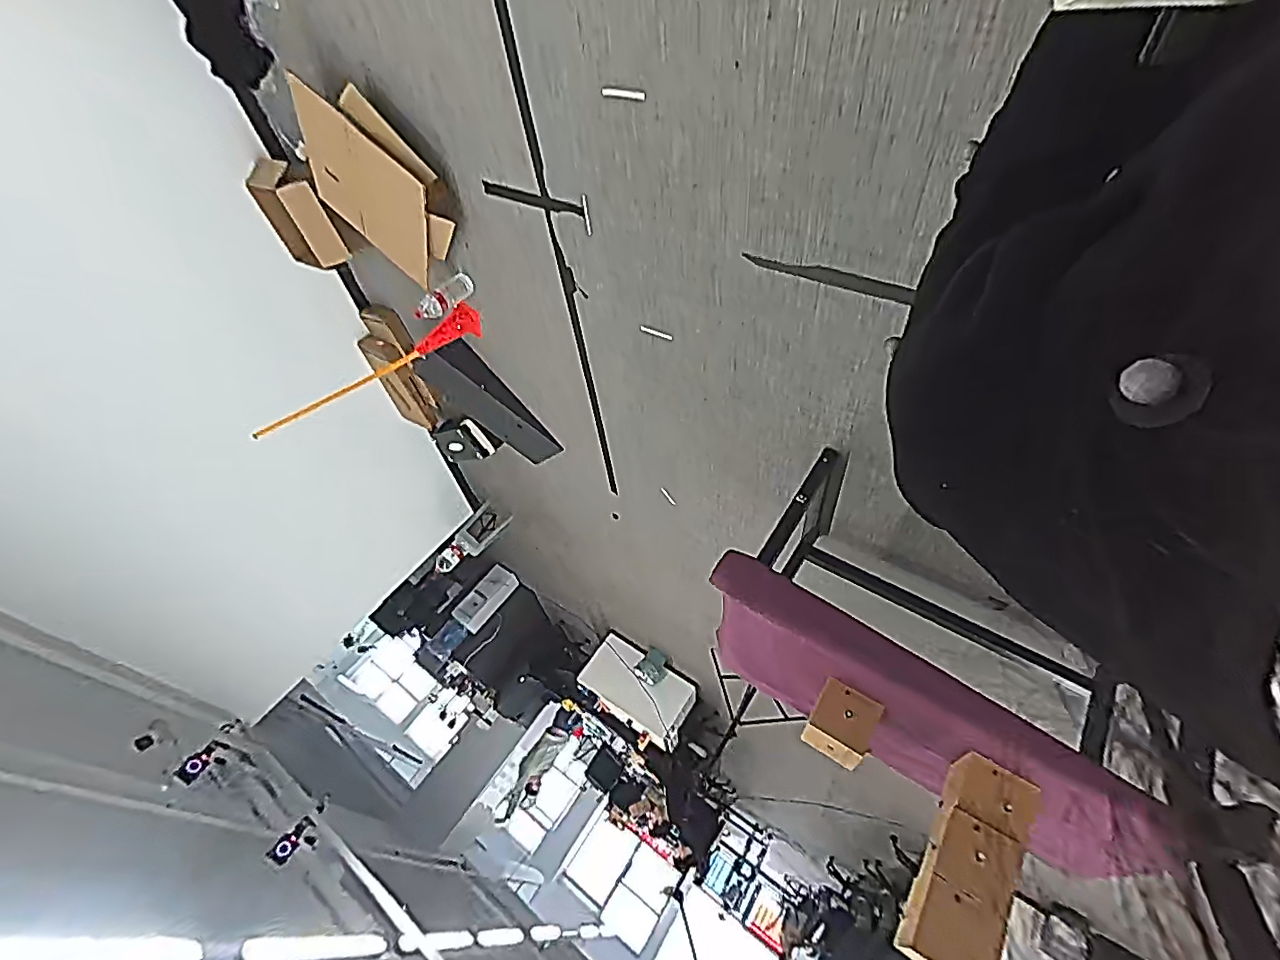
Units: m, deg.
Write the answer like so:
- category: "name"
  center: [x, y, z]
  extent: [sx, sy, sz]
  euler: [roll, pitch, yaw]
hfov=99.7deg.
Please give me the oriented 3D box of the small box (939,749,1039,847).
- category: "small box"
  center: [0.933, 0.851, 1.444]
  extent: [0.168, 0.176, 0.179]
  euler: [25, 149, 26]

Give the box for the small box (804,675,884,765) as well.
- category: "small box"
  center: [0.619, 0.724, 1.639]
  extent: [0.168, 0.176, 0.179]
  euler: [26, 149, 25]

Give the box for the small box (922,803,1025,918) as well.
- category: "small box"
  center: [0.834, 0.947, 1.353]
  extent: [0.168, 0.176, 0.179]
  euler: [23, 147, 30]
